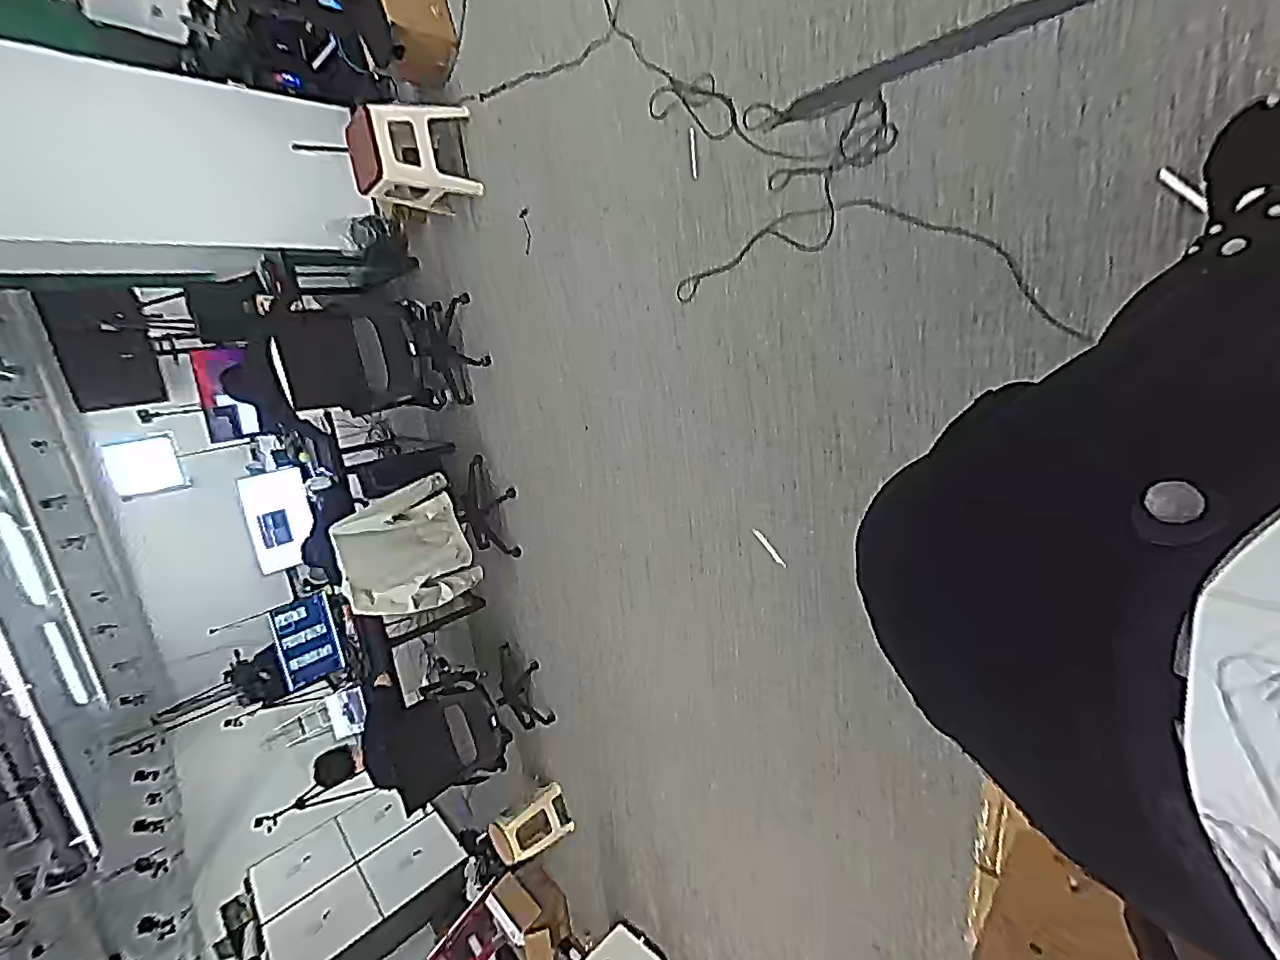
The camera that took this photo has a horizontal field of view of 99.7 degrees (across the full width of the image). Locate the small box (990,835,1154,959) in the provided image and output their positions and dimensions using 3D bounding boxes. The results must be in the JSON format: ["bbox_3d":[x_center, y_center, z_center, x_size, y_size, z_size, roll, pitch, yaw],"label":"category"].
[{"bbox_3d":[0.628,0.683,0.793,0.168,0.176,0.179,10,110,45],"label":"small box"}]

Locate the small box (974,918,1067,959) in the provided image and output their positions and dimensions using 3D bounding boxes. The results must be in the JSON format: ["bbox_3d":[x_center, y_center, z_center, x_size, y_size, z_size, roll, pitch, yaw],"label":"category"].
[{"bbox_3d":[0.510,0.724,0.684,0.168,0.176,0.179,9,109,47],"label":"small box"}]
